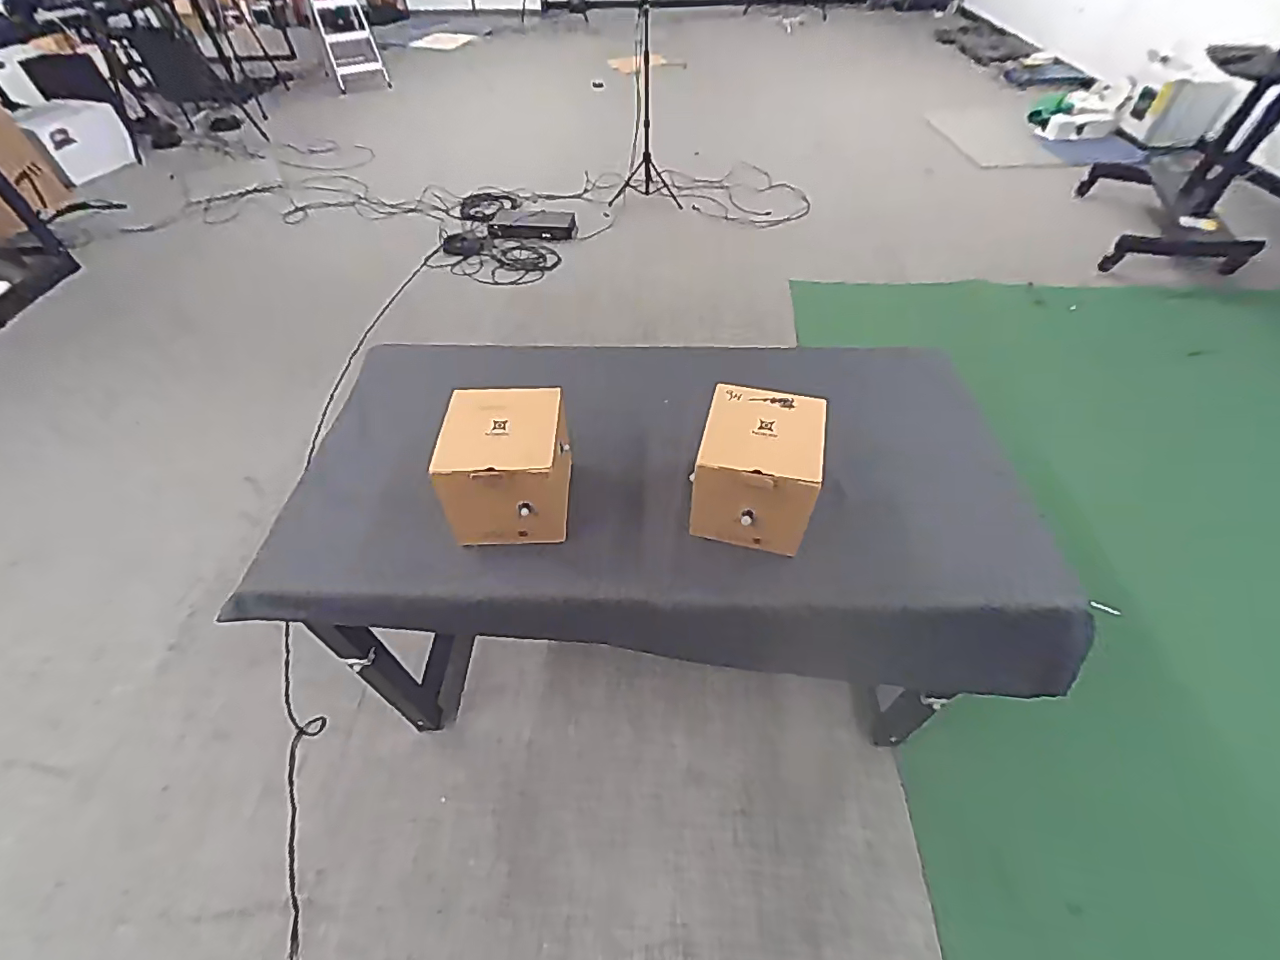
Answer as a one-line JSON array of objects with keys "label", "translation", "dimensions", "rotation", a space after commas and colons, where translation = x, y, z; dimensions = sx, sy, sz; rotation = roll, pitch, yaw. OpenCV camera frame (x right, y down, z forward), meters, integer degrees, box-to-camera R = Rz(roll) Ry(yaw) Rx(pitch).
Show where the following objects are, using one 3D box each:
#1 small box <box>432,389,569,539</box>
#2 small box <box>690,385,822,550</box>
[{"label": "small box", "translation": [-0.202, -0.020, 0.839], "dimensions": [0.168, 0.176, 0.179], "rotation": [-1, 46, -2]}, {"label": "small box", "translation": [0.173, -0.017, 0.830], "dimensions": [0.168, 0.176, 0.179], "rotation": [11, 50, 10]}]
